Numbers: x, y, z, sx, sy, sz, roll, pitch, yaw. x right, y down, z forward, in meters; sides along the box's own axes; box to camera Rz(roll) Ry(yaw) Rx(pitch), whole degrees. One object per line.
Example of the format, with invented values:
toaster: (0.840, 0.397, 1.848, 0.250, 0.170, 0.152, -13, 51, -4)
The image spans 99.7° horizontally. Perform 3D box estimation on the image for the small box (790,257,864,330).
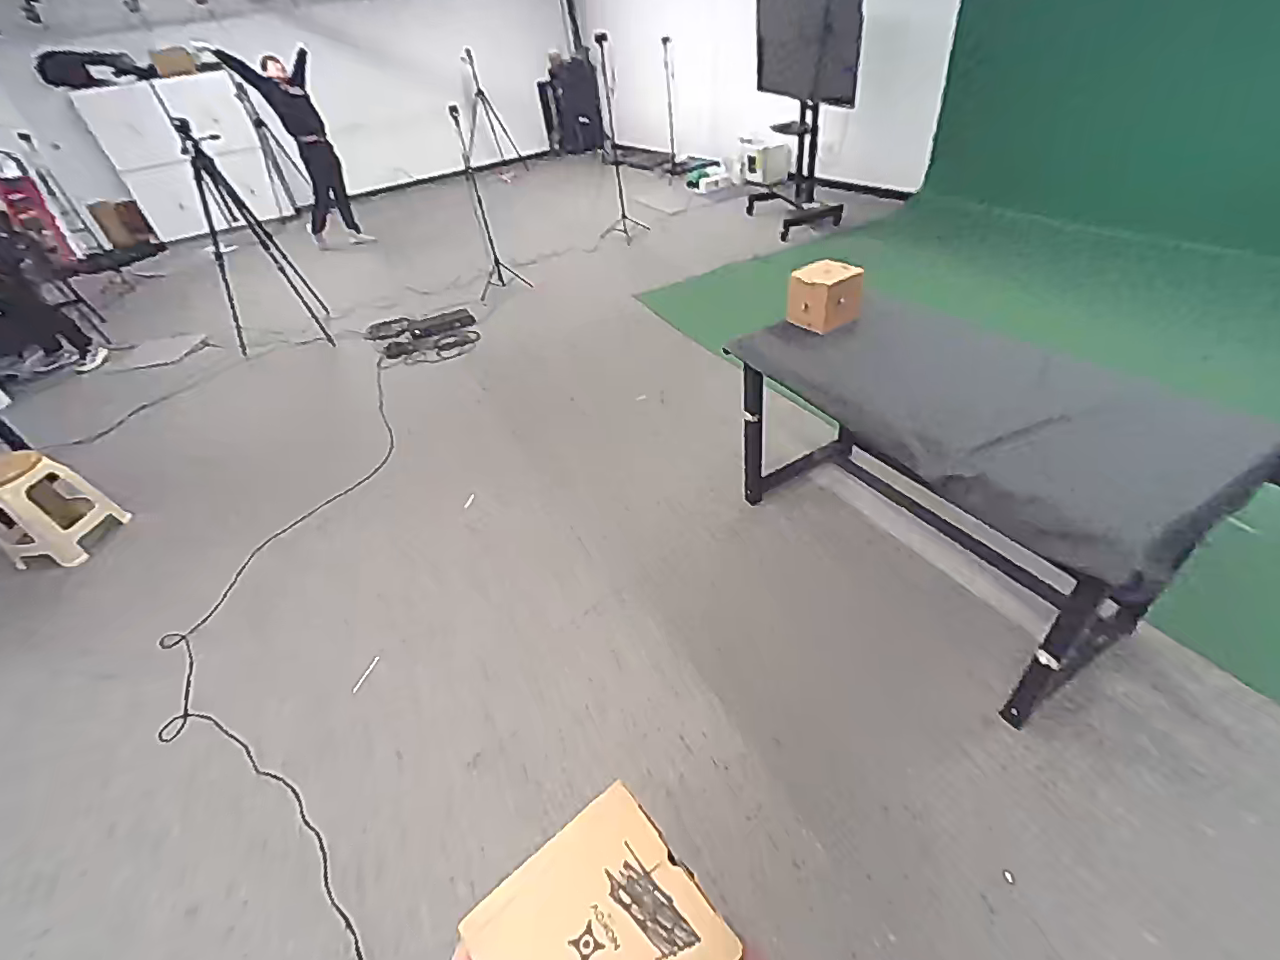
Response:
small box: (0.624, -0.624, 1.815, 0.179, 0.176, 0.168, -28, 44, -20)
